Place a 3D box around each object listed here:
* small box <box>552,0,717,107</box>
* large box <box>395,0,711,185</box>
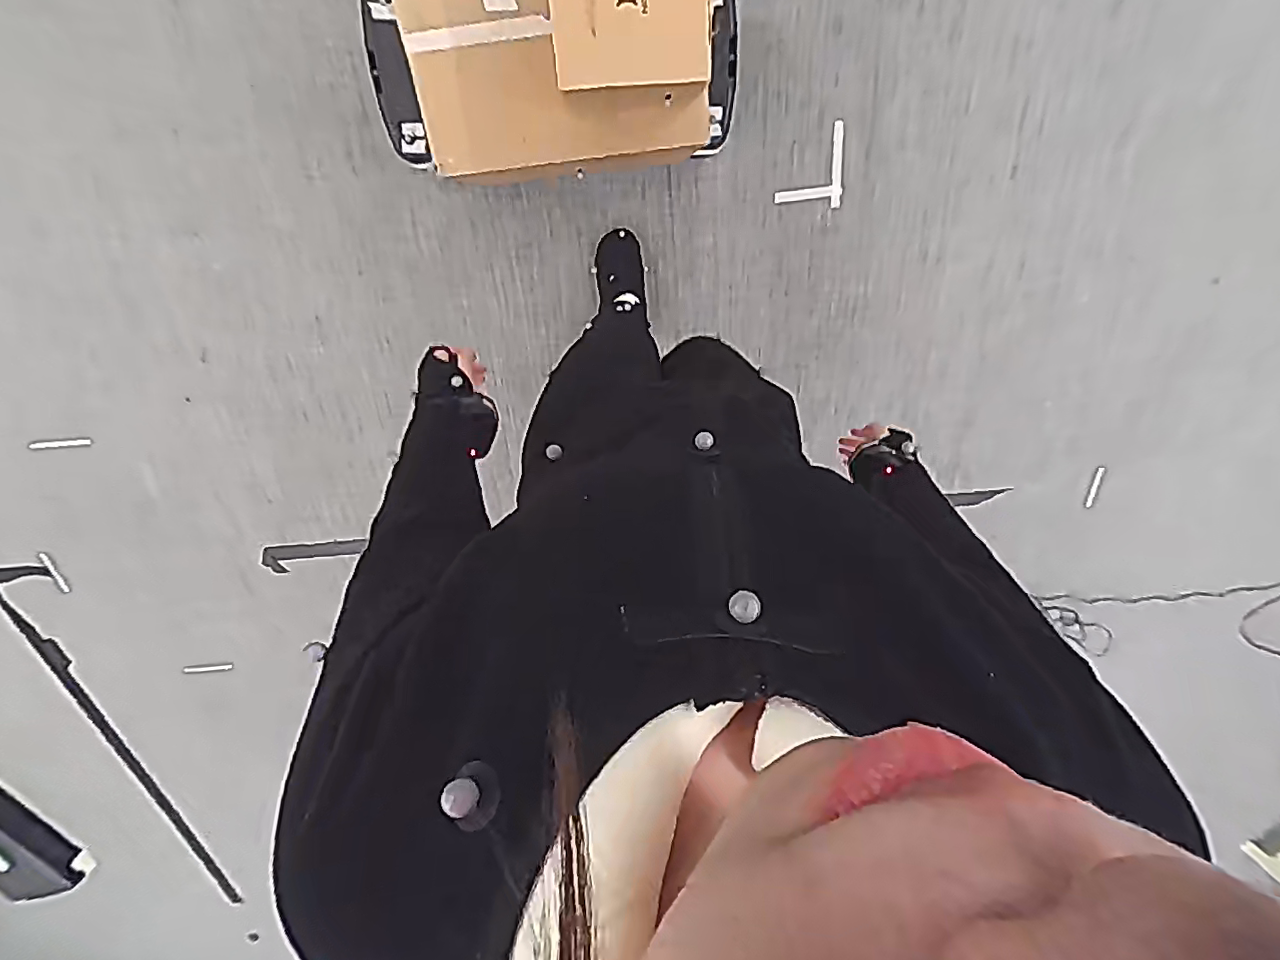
[{"bbox_3d":[-0.012,-0.552,0.634,0.179,0.176,0.168,-4,117,-1],"label":"small box"},{"bbox_3d":[-0.118,-0.664,0.846,0.408,0.320,0.320,-7,116,1],"label":"large box"}]
